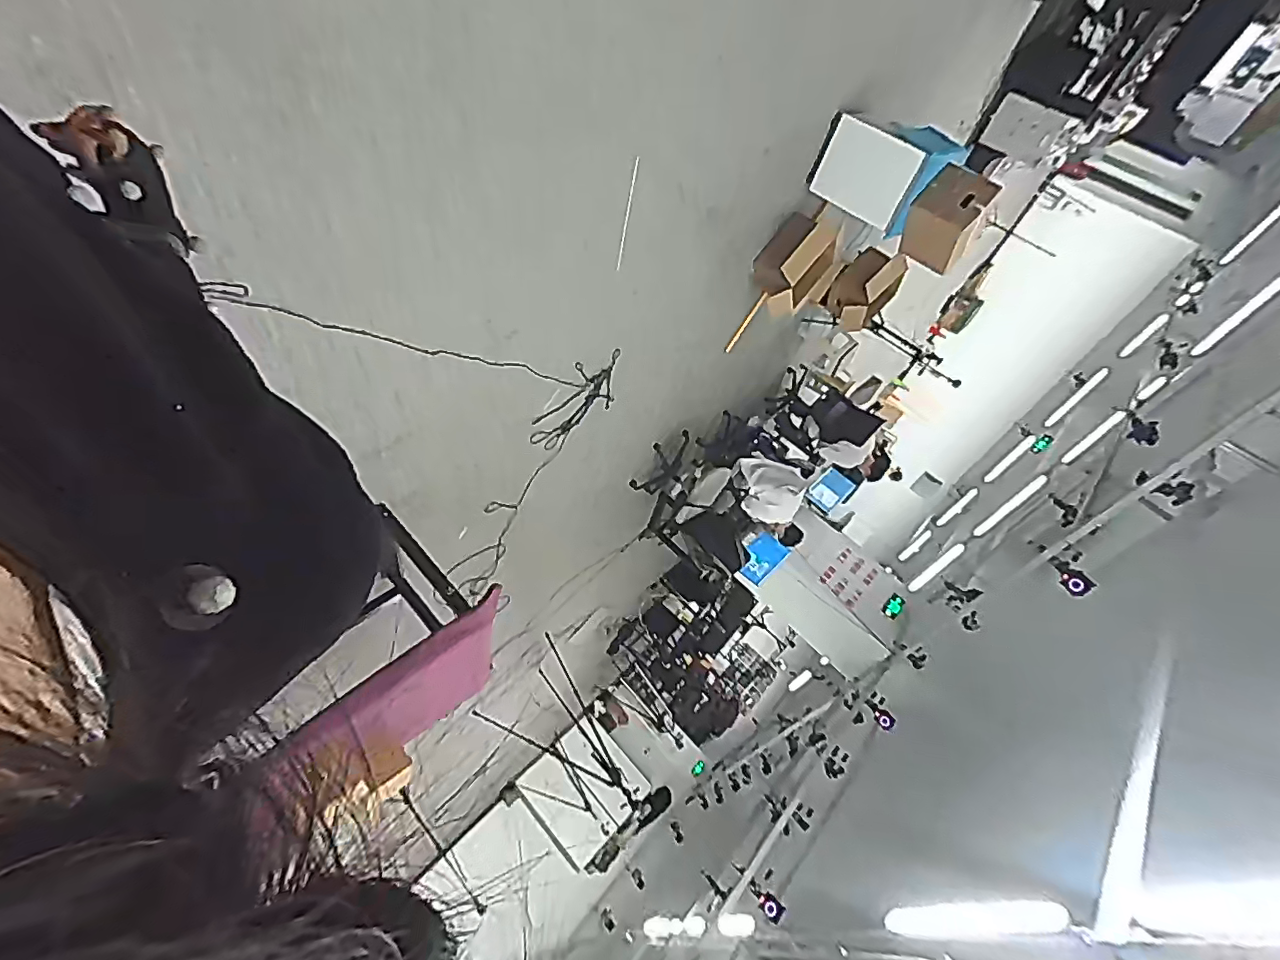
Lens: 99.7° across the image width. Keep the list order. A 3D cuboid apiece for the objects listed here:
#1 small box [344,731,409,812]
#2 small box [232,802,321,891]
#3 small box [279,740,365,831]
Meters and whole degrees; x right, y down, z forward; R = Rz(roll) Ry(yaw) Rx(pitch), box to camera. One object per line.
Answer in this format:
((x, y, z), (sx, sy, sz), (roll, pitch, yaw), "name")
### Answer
((-0.962, 1.044, 1.953), (0.168, 0.176, 0.179), (-26, 151, -45), "small box")
((-1.180, 1.186, 1.756), (0.168, 0.176, 0.179), (-34, 157, -35), "small box")
((-0.997, 0.953, 1.698), (0.168, 0.176, 0.179), (-33, 156, -37), "small box")
